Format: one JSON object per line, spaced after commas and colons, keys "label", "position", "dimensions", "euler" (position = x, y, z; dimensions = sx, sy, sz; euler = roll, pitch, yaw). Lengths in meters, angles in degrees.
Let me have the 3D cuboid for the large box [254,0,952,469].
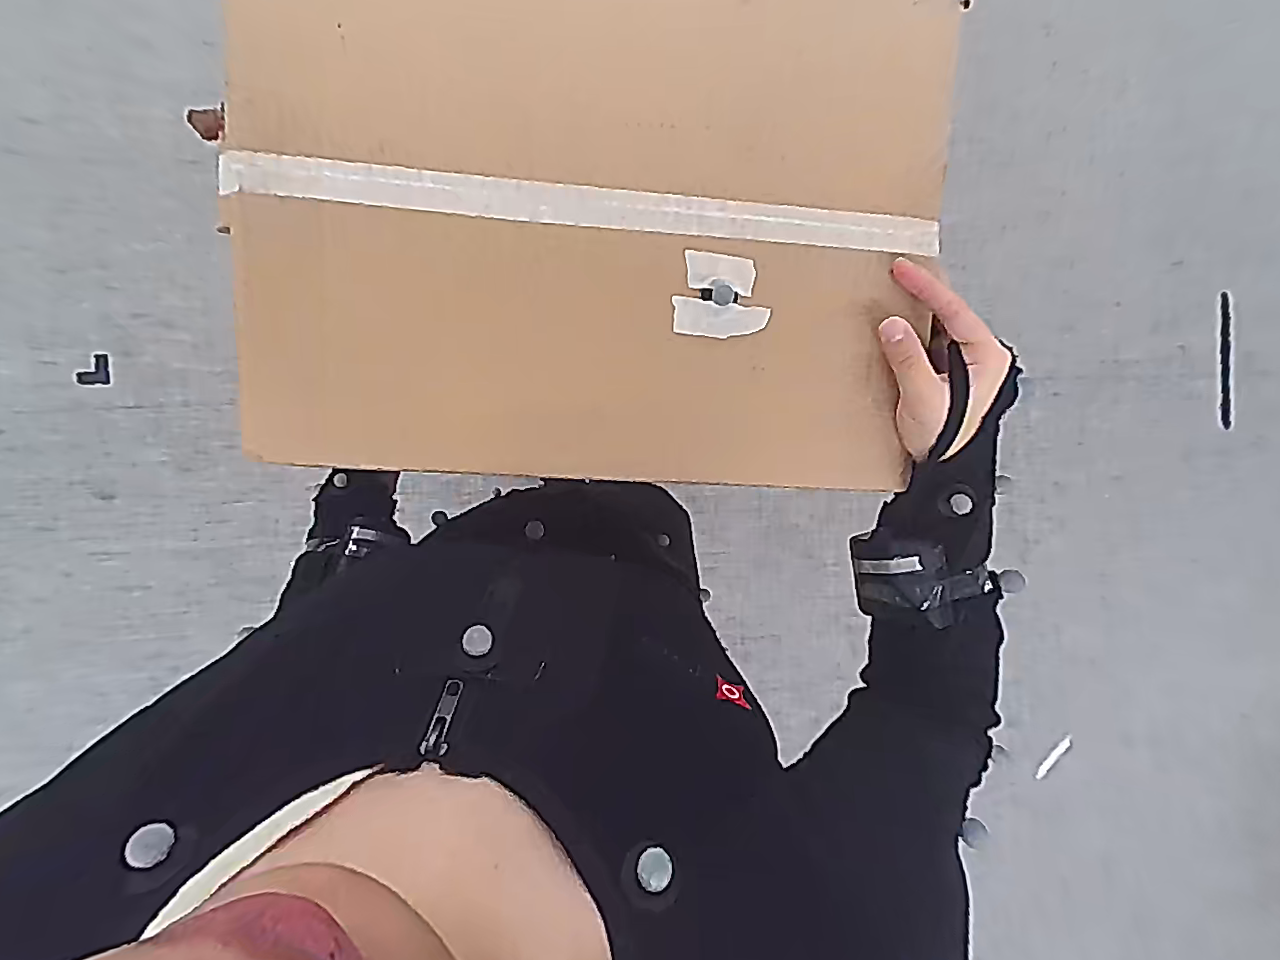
{"label": "large box", "position": [-0.032, -0.182, 0.467], "dimensions": [0.408, 0.320, 0.320], "euler": [2, 98, -8]}
